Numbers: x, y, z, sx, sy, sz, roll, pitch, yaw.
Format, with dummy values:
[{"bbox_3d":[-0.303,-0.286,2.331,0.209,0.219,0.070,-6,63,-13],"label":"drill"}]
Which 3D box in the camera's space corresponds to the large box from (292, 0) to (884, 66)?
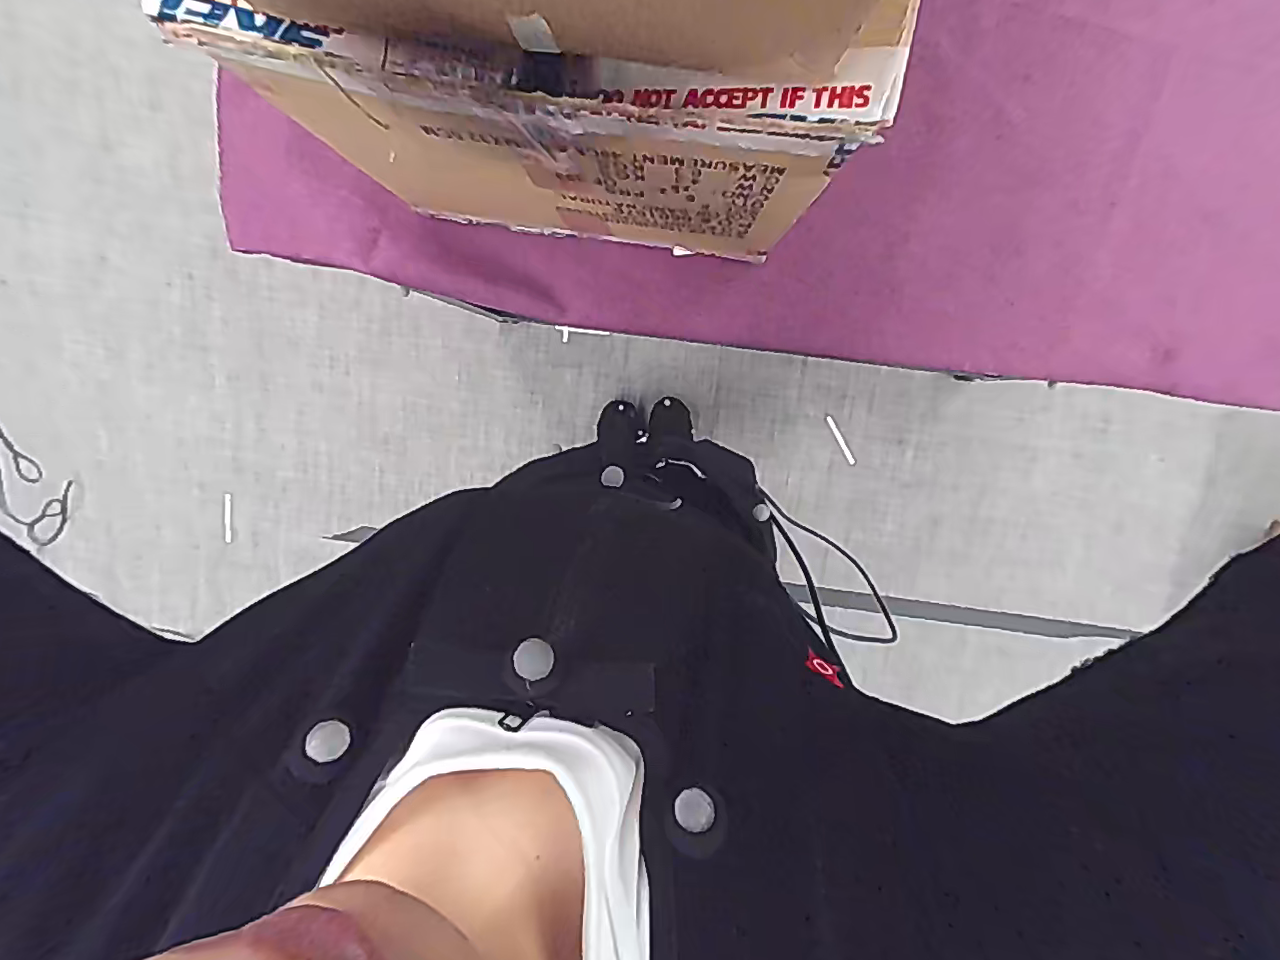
[{"bbox_3d":[-0.024,-0.389,0.094,0.320,0.320,0.408,7,104,1],"label":"large box"}]
